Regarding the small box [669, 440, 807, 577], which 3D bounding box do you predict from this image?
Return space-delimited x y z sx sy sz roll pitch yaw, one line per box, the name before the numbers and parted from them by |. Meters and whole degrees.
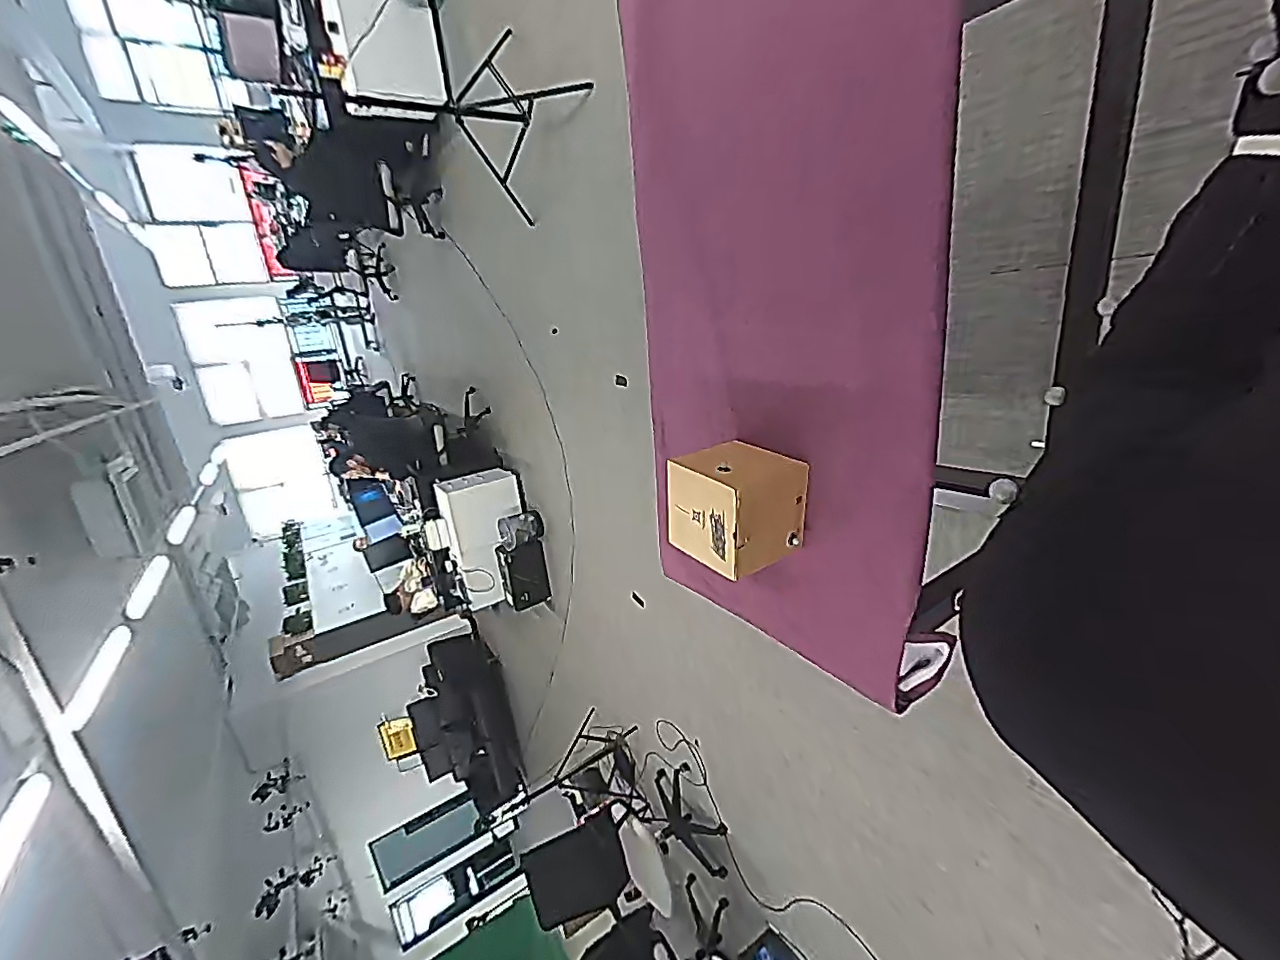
small box | 0.170 0.038 0.946 0.179 0.176 0.168 27 126 51
